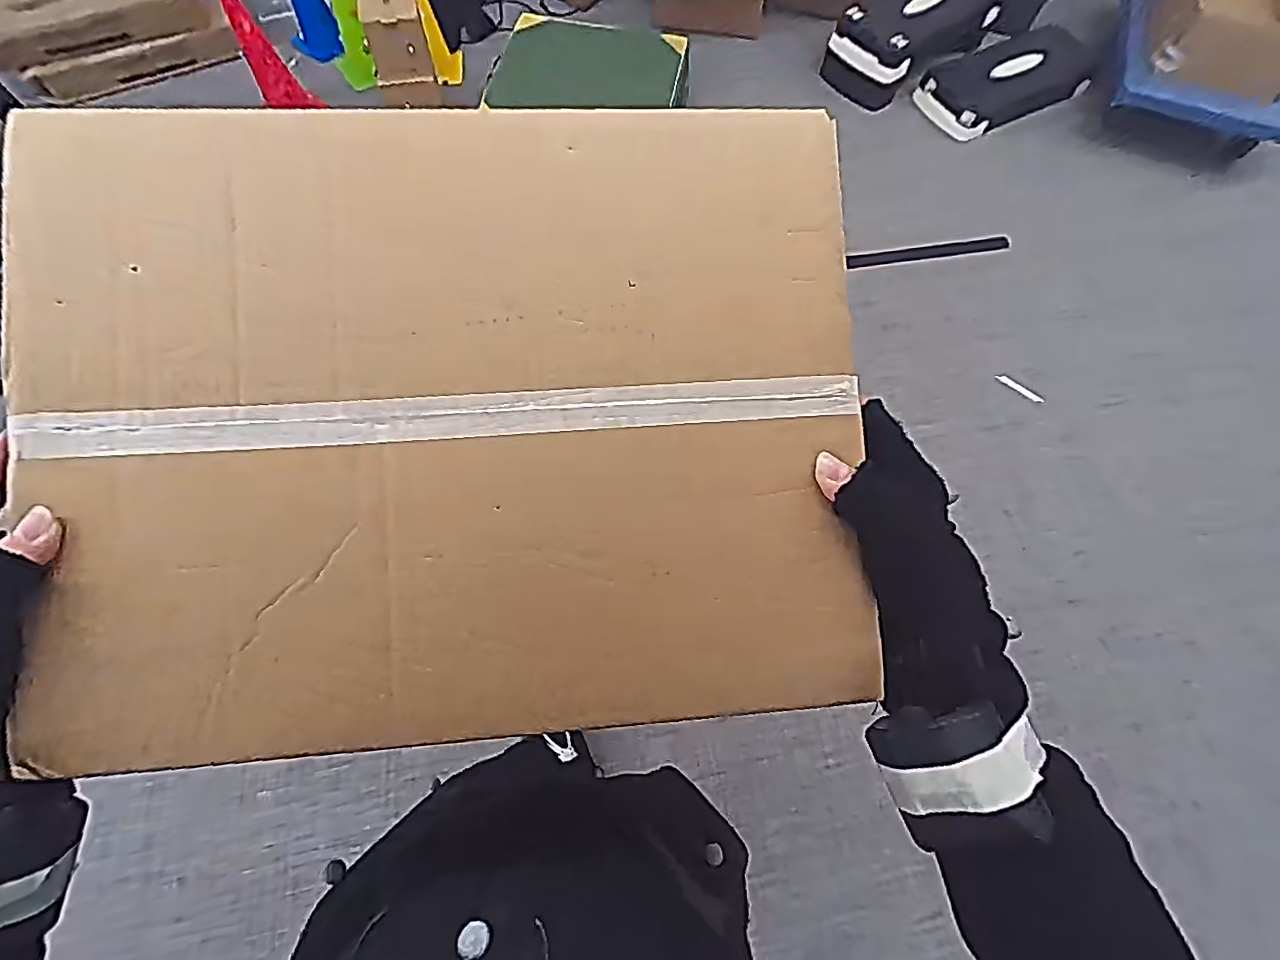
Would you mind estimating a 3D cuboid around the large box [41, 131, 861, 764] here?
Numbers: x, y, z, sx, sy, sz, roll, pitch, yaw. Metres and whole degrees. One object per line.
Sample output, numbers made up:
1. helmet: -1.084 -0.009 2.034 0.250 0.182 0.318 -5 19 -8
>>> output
1. large box: -0.098 -0.023 0.426 0.408 0.320 0.320 -3 86 -5
